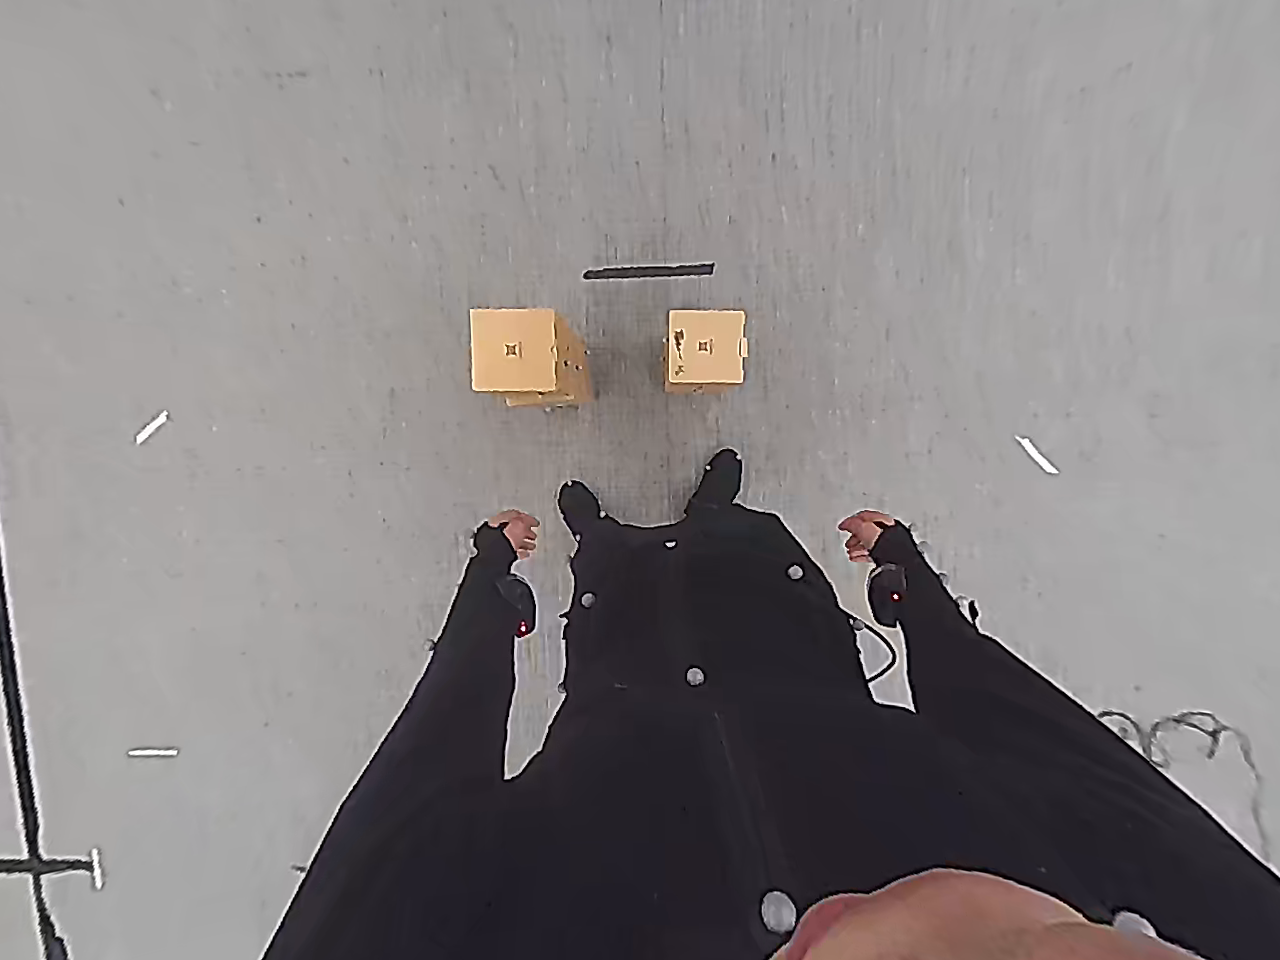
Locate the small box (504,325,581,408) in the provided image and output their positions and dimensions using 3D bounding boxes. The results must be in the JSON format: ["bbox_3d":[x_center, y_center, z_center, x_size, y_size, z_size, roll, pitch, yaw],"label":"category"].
[{"bbox_3d":[-0.242,-0.275,1.332,0.168,0.176,0.179,-5,96,2],"label":"small box"}]

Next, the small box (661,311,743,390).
[{"bbox_3d":[0.147,-0.312,1.323,0.179,0.176,0.168,1,95,-1],"label":"small box"}]

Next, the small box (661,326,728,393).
[{"bbox_3d":[0.147,-0.327,1.487,0.179,0.176,0.168,0,96,0],"label":"small box"}]

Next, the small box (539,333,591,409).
[{"bbox_3d":[-0.233,-0.296,1.493,0.168,0.176,0.179,-7,96,2],"label":"small box"}]

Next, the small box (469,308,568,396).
[{"bbox_3d":[-0.256,-0.269,1.169,0.179,0.176,0.168,0,95,1],"label":"small box"}]
